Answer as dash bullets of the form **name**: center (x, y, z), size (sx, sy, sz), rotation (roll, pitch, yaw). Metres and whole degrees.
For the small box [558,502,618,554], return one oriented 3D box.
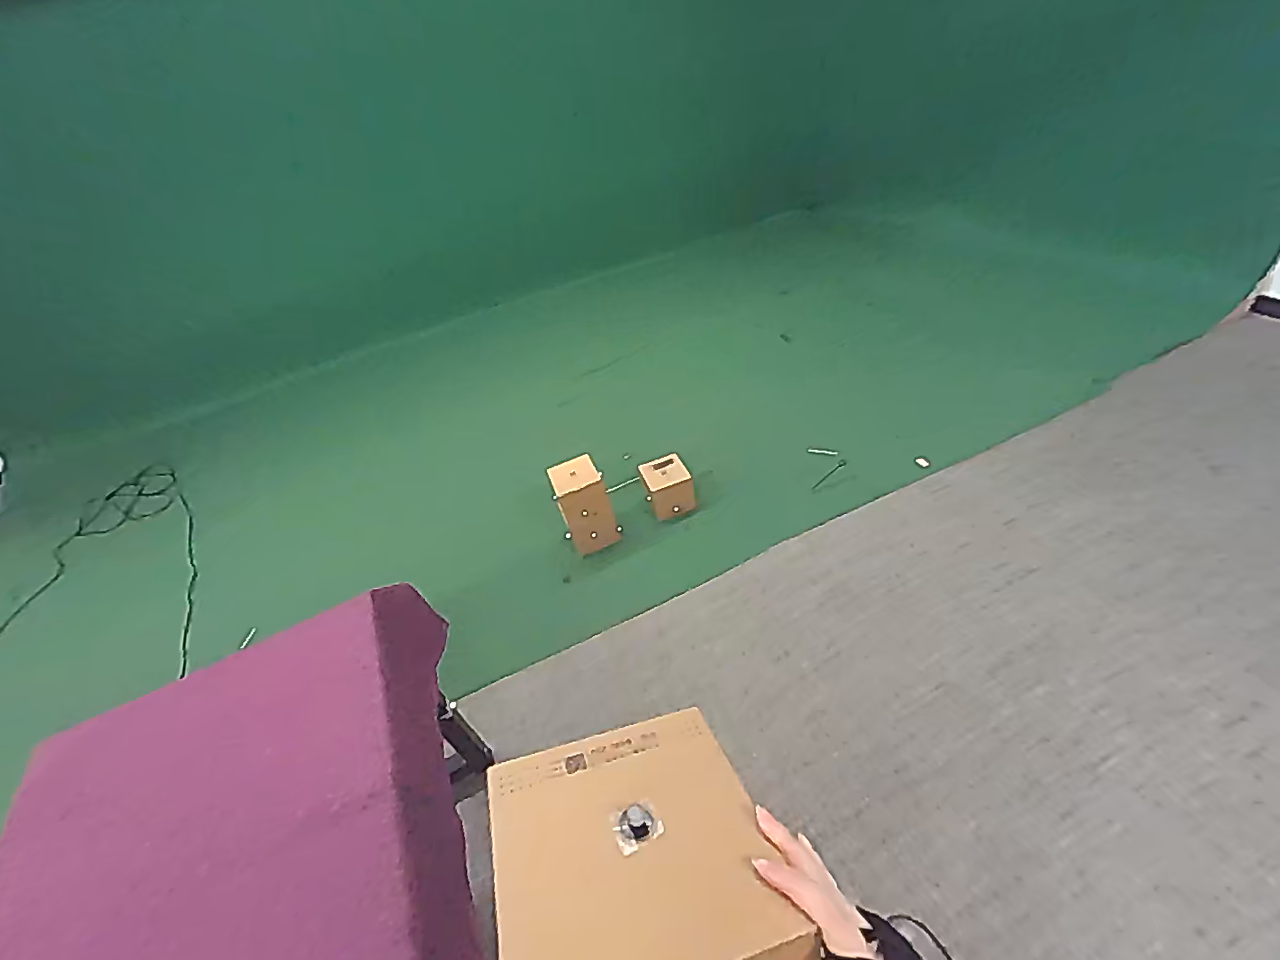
- **small box**: center (-0.196, 0.157, 2.104), size (0.179, 0.176, 0.168), rotation (-23, 41, -8)

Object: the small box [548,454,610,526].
- **small box**: center (-0.225, 0.037, 1.997), size (0.168, 0.176, 0.179), rotation (-22, 41, -9)
